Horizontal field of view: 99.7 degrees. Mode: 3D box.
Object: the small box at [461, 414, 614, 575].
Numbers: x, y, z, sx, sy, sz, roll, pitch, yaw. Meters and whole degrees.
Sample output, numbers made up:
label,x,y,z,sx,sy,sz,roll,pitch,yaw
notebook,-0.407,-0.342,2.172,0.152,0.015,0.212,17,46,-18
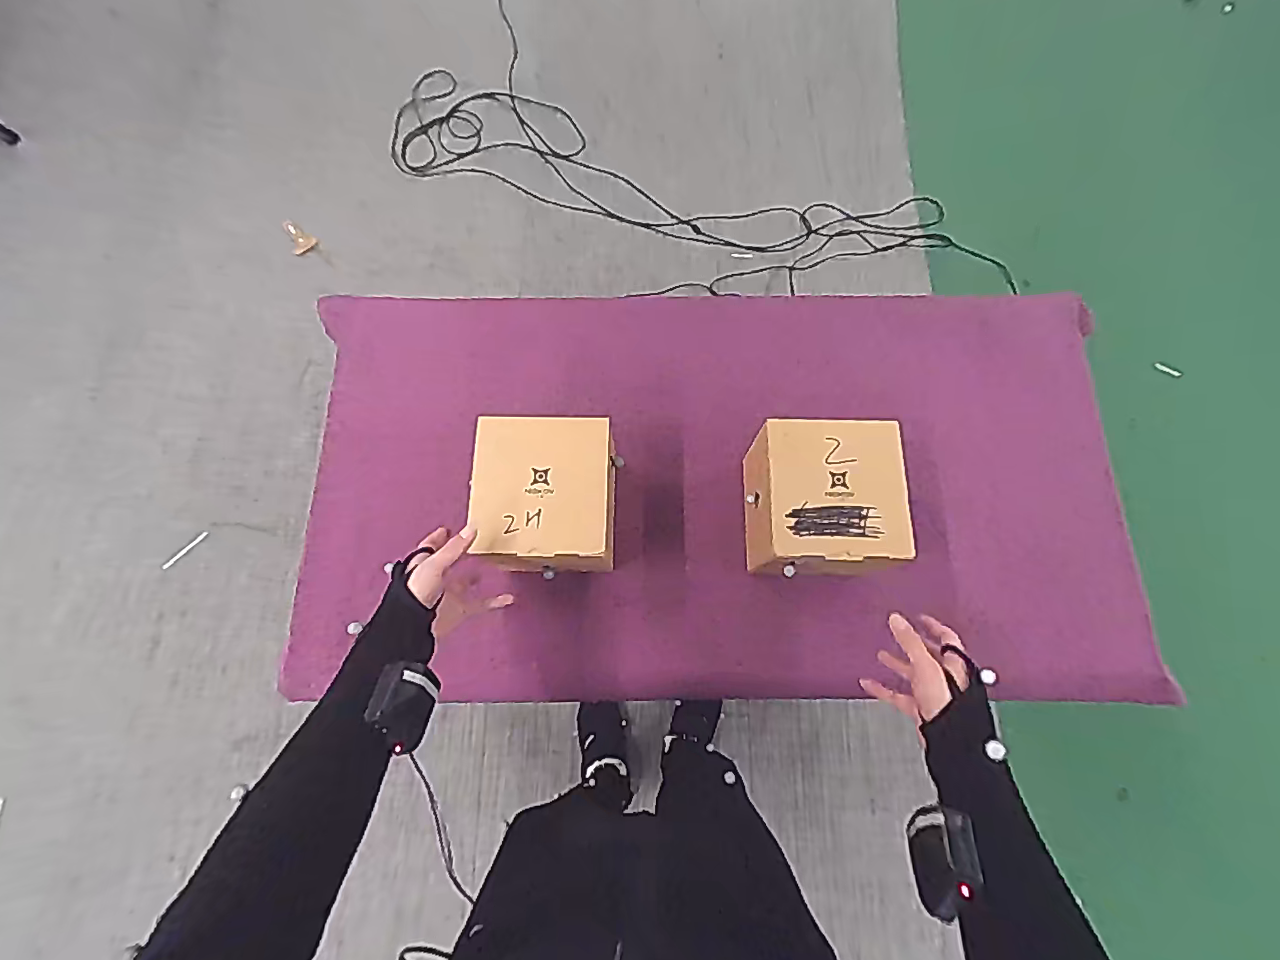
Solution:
label,x,y,z,sx,sy,sz,roll,pitch,yaw
small box,-0.123,0.027,0.718,0.168,0.176,0.179,1,74,0
